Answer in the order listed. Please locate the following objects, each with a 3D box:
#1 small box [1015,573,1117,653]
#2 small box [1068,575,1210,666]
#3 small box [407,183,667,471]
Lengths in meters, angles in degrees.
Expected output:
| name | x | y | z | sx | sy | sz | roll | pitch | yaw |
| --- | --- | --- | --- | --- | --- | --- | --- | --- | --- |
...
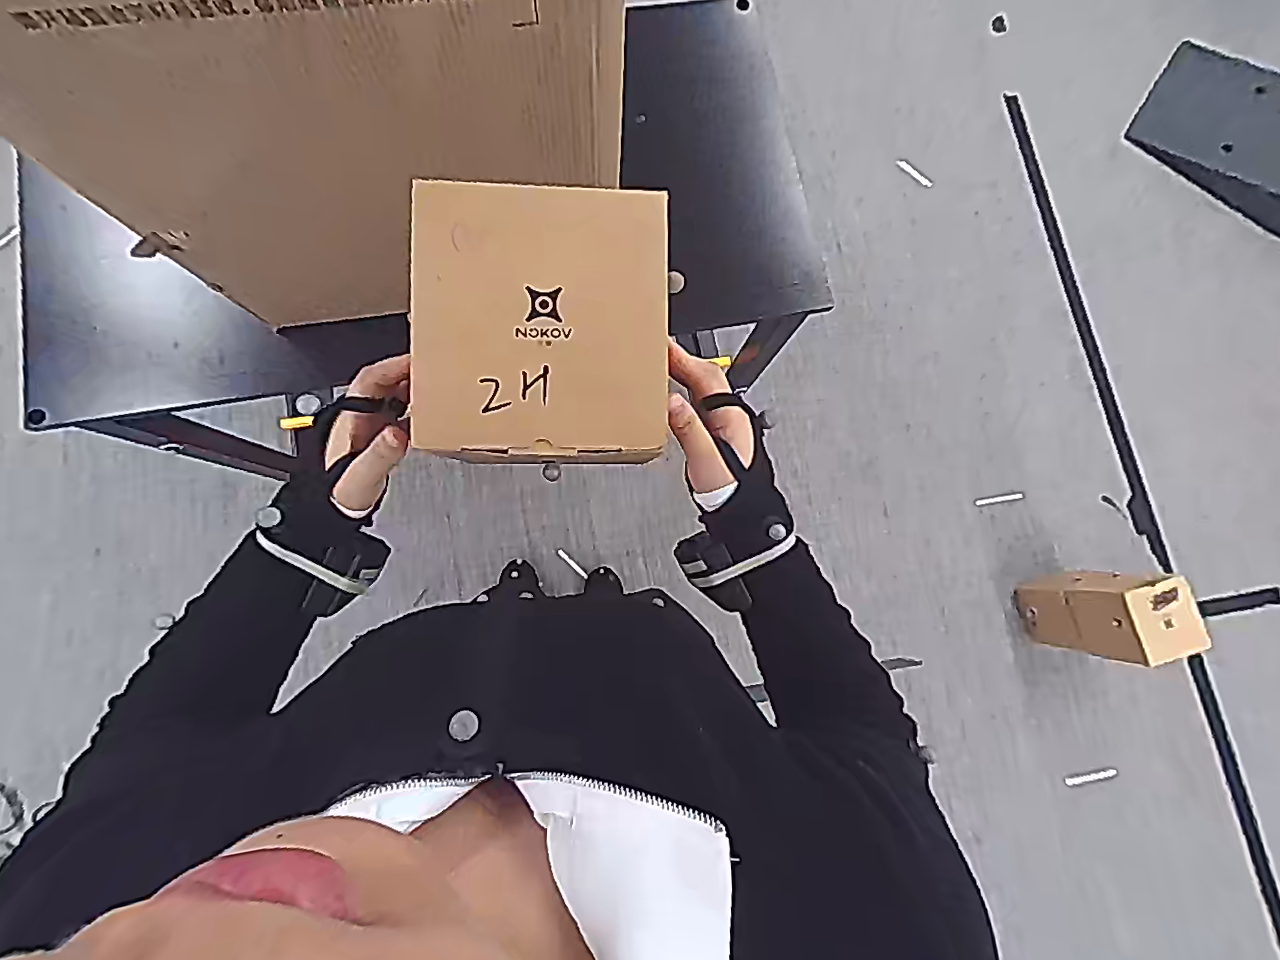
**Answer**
| name | x | y | z | sx | sy | sz | roll | pitch | yaw |
| --- | --- | --- | --- | --- | --- | --- | --- | --- | --- |
| small box | 1.197 | 0.359 | 1.493 | 0.179 | 0.176 | 0.168 | -17 | 82 | -5 |
| small box | 1.211 | 0.338 | 1.330 | 0.168 | 0.176 | 0.179 | -14 | 82 | -6 |
| small box | -0.072 | -0.100 | 0.429 | 0.168 | 0.176 | 0.179 | 0 | 89 | -5 |
